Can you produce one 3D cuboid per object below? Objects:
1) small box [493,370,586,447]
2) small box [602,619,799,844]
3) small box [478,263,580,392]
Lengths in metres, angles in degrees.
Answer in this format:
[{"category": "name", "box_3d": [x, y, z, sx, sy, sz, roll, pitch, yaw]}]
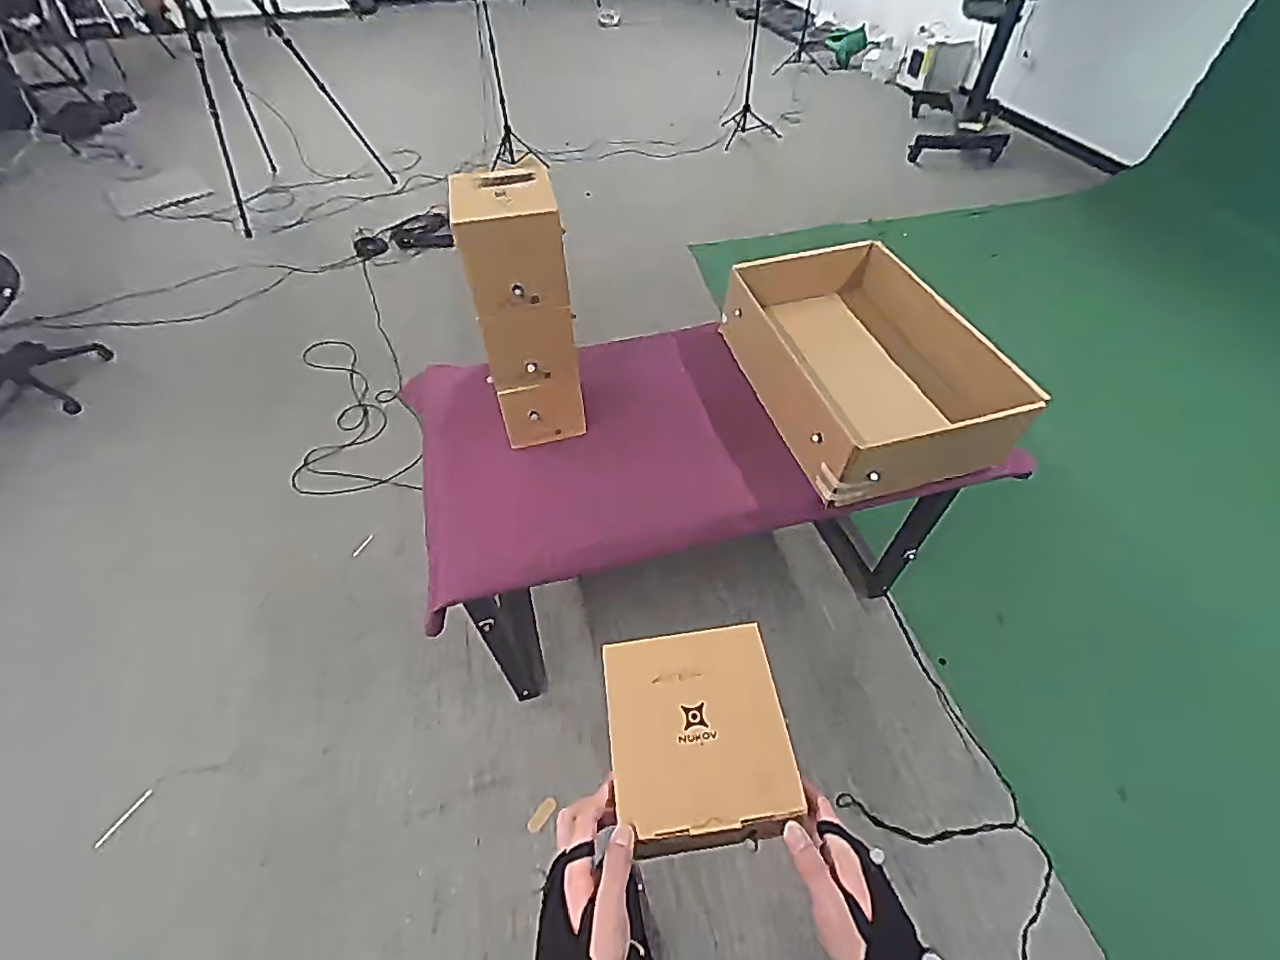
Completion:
[{"category": "small box", "box_3d": [-0.219, -0.190, 1.184, 0.168, 0.176, 0.179, -14, 51, -10]}, {"category": "small box", "box_3d": [0.054, 0.271, 0.571, 0.168, 0.176, 0.179, -6, 50, -1]}, {"category": "small box", "box_3d": [-0.216, -0.298, 1.060, 0.168, 0.176, 0.179, -10, 51, -7]}]
